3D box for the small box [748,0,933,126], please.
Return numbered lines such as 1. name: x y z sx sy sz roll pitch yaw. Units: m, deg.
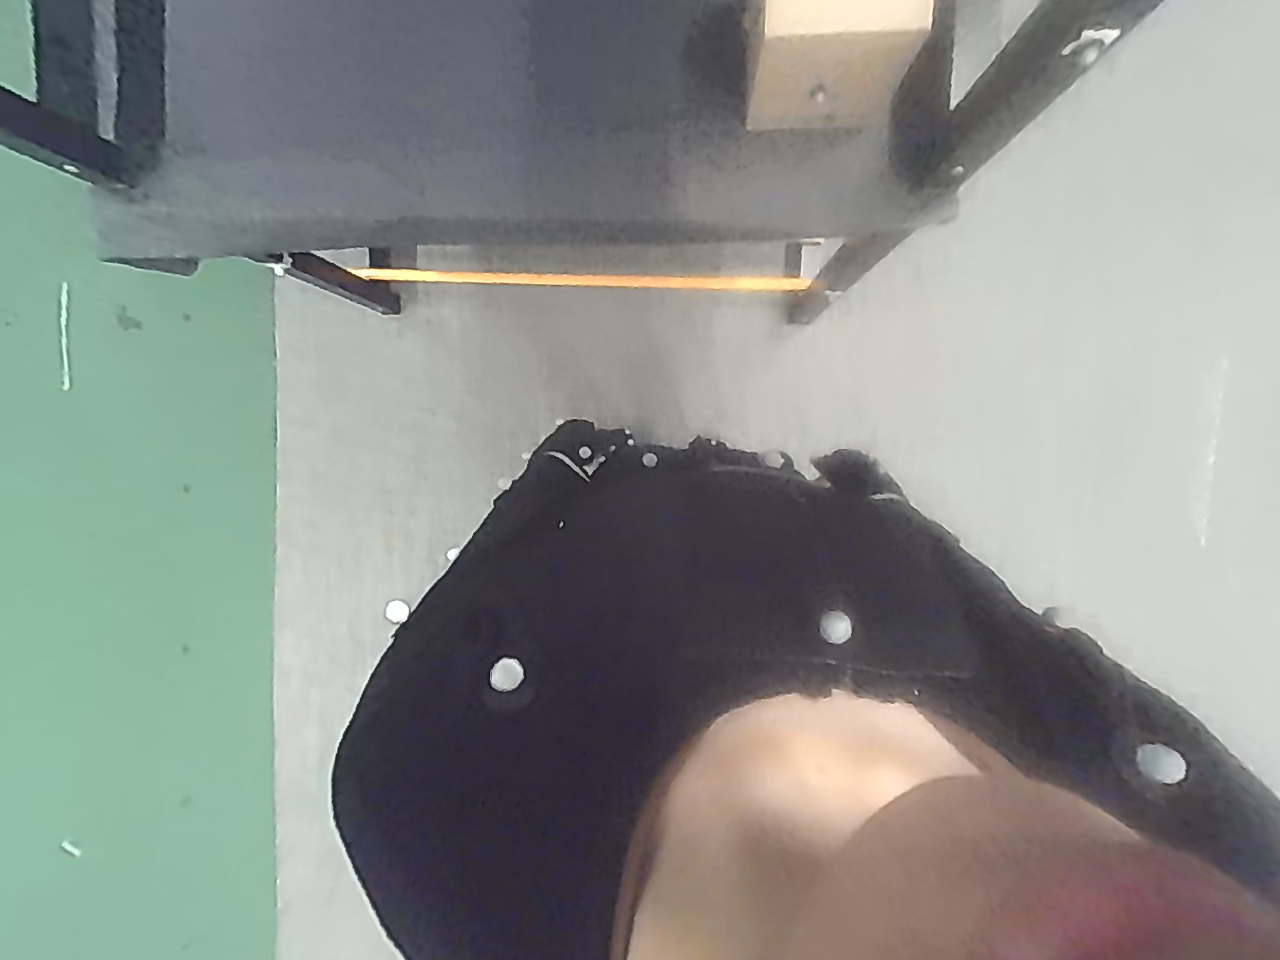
1. small box: 0.218 -0.536 0.619 0.168 0.176 0.179 1 94 4
